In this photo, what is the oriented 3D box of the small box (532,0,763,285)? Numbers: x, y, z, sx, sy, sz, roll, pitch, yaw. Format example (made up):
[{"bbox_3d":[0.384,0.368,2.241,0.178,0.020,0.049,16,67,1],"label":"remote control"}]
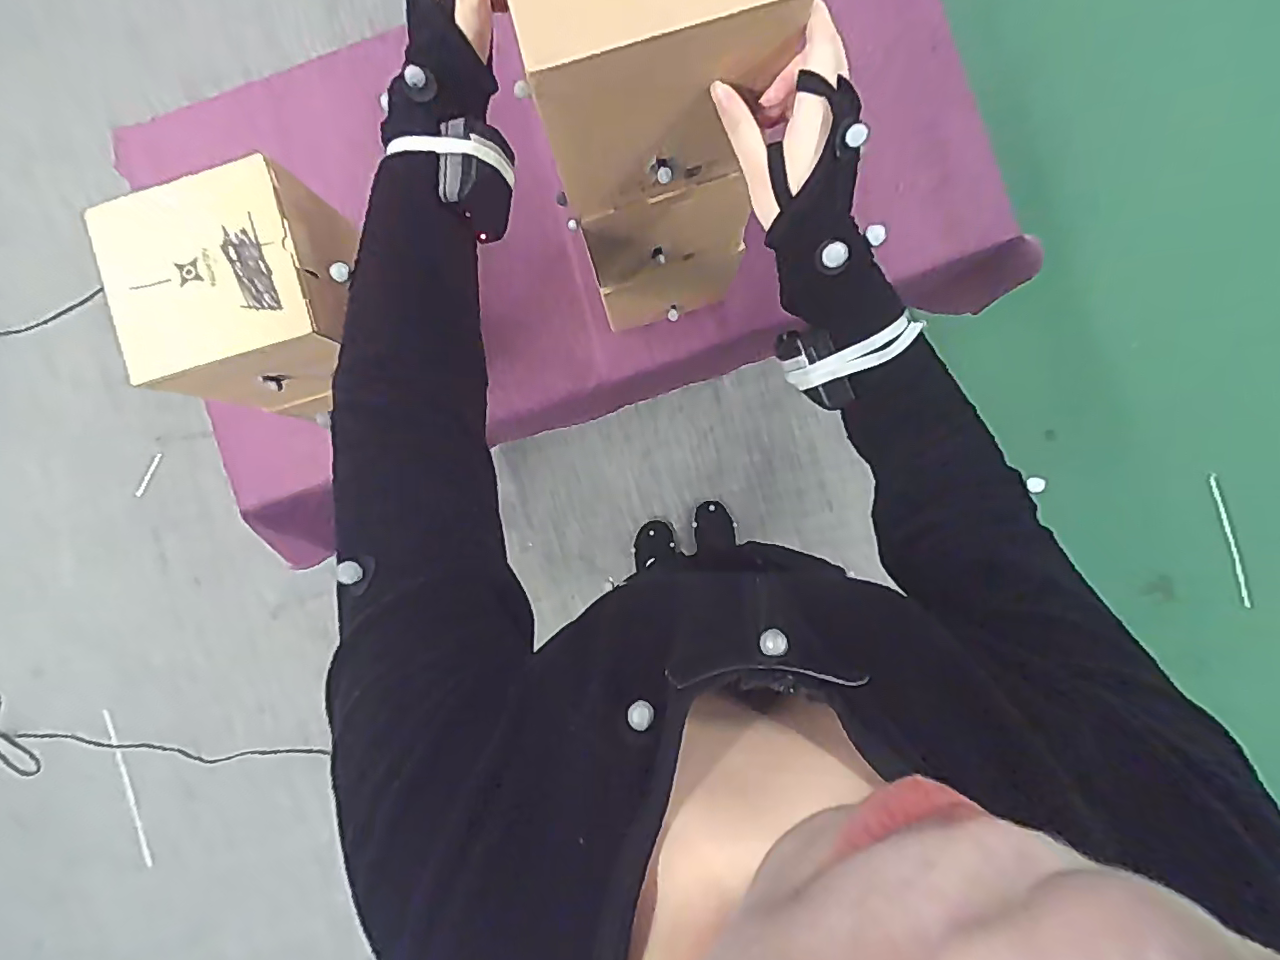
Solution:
[{"bbox_3d":[0.007,-0.327,0.545,0.168,0.176,0.179,-17,90,2],"label":"small box"}]

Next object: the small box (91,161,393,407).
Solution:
[{"bbox_3d":[-0.382,-0.183,0.559,0.179,0.176,0.168,-16,90,3],"label":"small box"}]

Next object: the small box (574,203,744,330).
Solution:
[{"bbox_3d":[0.017,-0.317,0.708,0.179,0.176,0.168,-17,88,2],"label":"small box"}]
